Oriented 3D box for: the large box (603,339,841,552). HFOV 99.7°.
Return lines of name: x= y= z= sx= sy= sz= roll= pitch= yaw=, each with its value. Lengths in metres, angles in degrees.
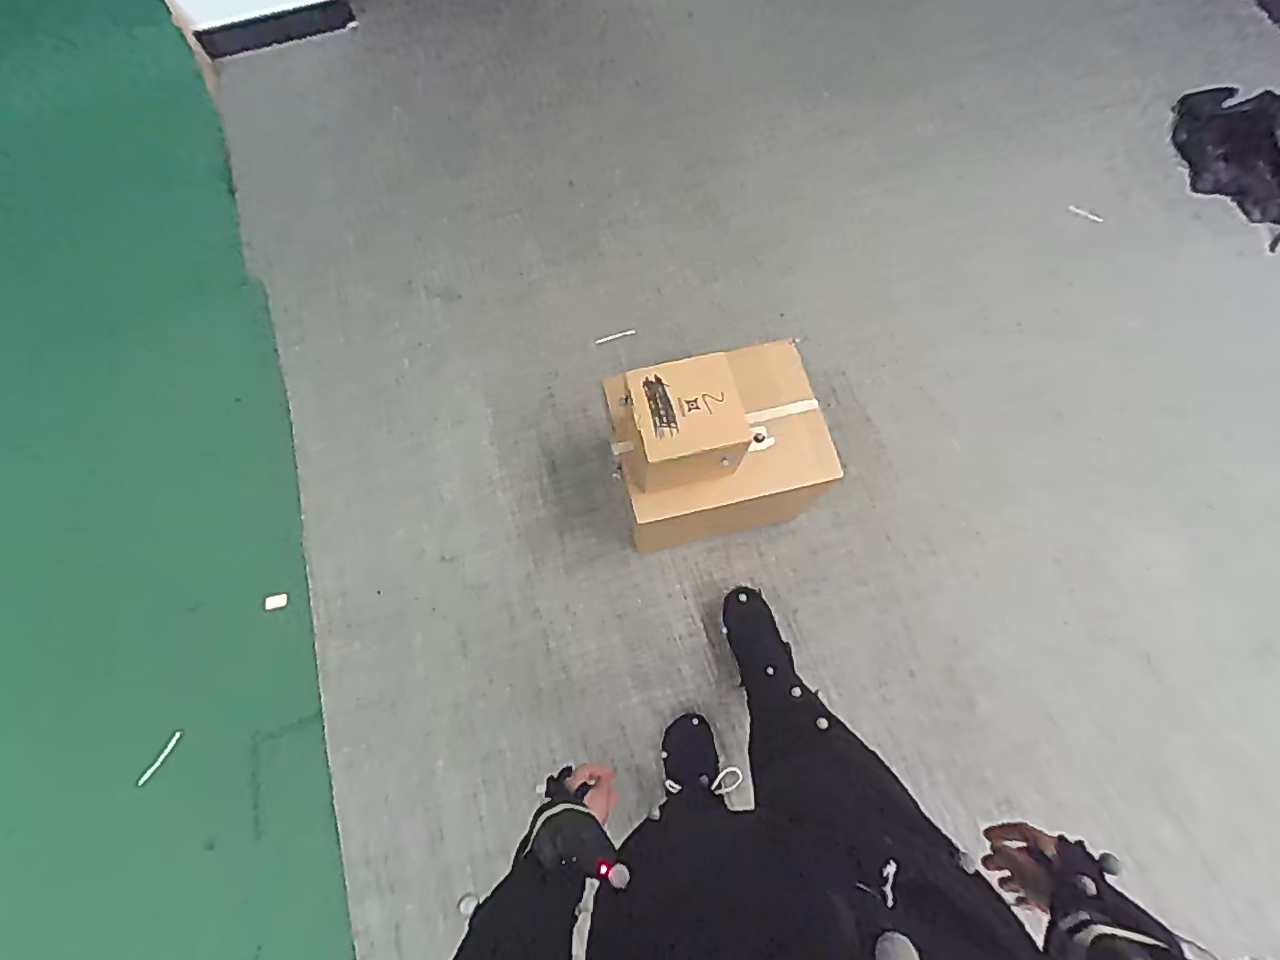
large box: x=0.151 y=-0.059 z=1.189 sx=0.408 sy=0.320 sz=0.320 roll=-13 pitch=73 yaw=-5
